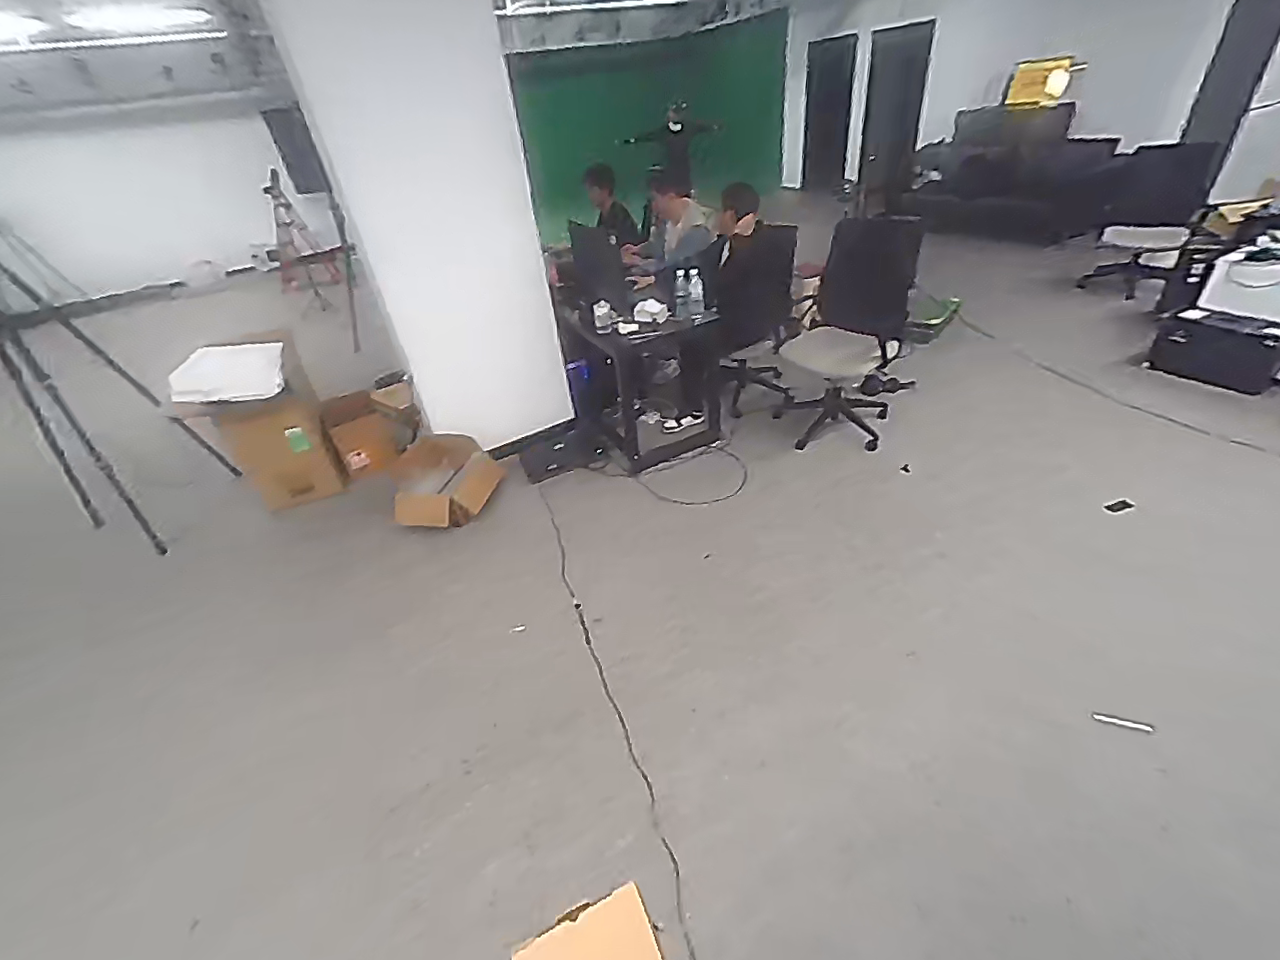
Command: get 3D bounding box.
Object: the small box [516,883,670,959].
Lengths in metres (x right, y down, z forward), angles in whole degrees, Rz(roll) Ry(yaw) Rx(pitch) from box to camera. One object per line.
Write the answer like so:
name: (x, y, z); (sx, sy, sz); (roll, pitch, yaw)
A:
small box: (-0.035, 0.641, 0.653); (0.168, 0.176, 0.179); (-20, 43, -12)
